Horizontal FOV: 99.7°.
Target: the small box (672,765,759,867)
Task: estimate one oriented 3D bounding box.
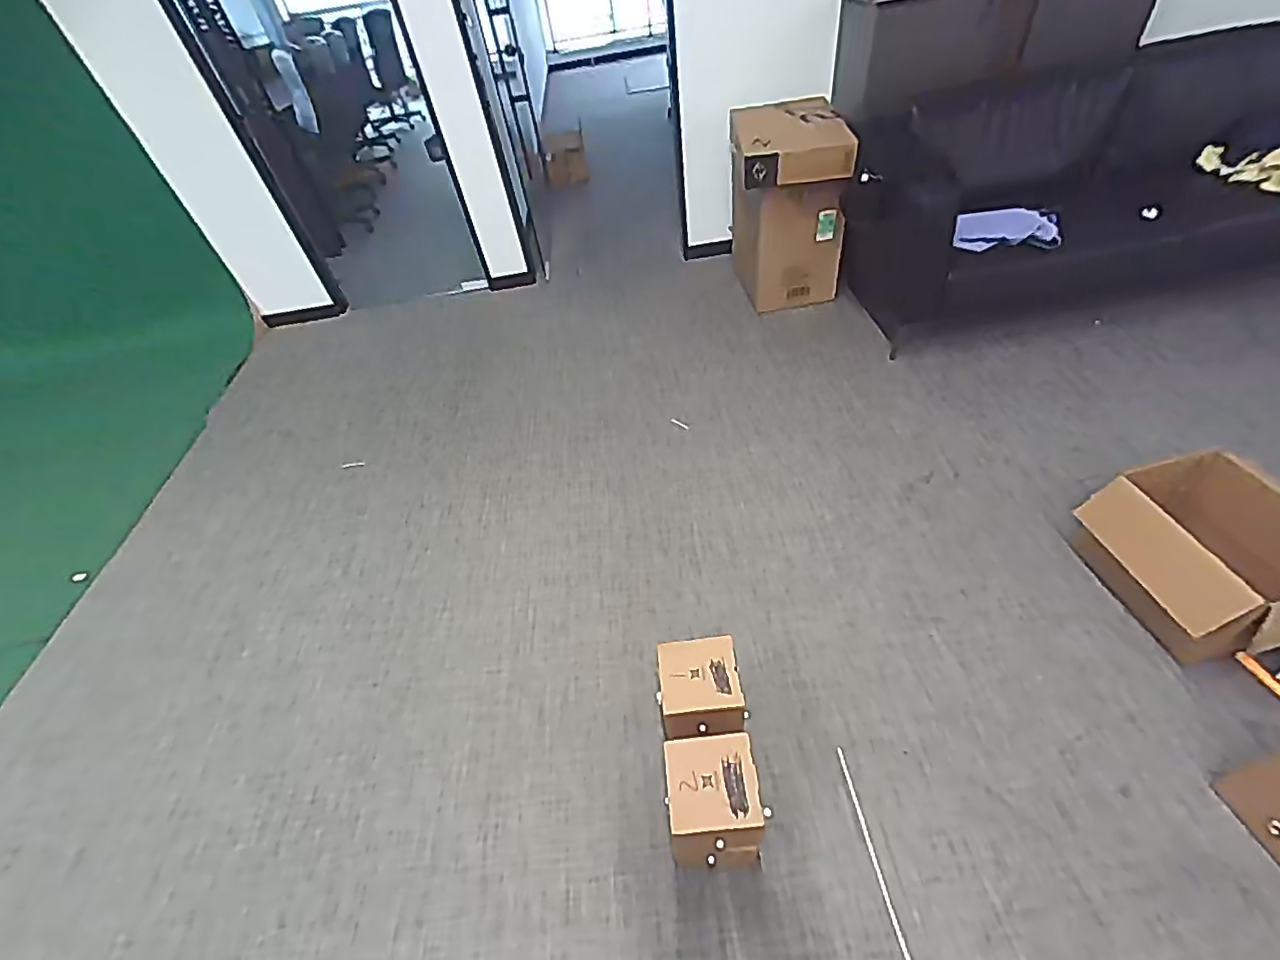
[{"bbox_3d":[0.168,0.751,1.207,0.179,0.176,0.168,-4,46,6],"label":"small box"}]
